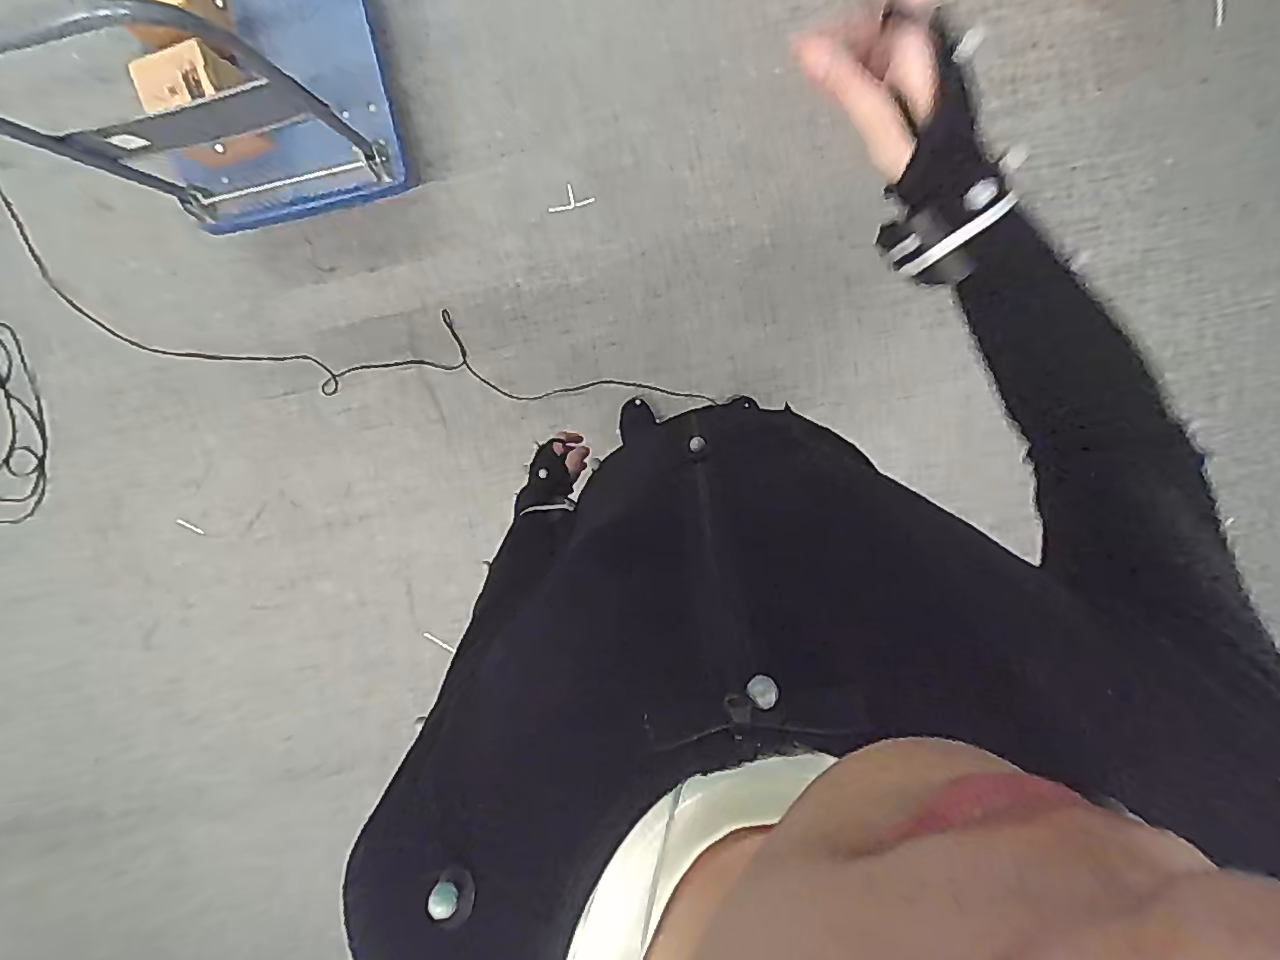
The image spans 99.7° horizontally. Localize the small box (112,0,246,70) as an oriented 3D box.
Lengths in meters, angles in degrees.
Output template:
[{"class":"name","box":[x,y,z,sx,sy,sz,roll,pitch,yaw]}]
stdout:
[{"class":"small box","box":[-1.071,-1.095,1.251,0.179,0.176,0.168,-11,98,2]}]
